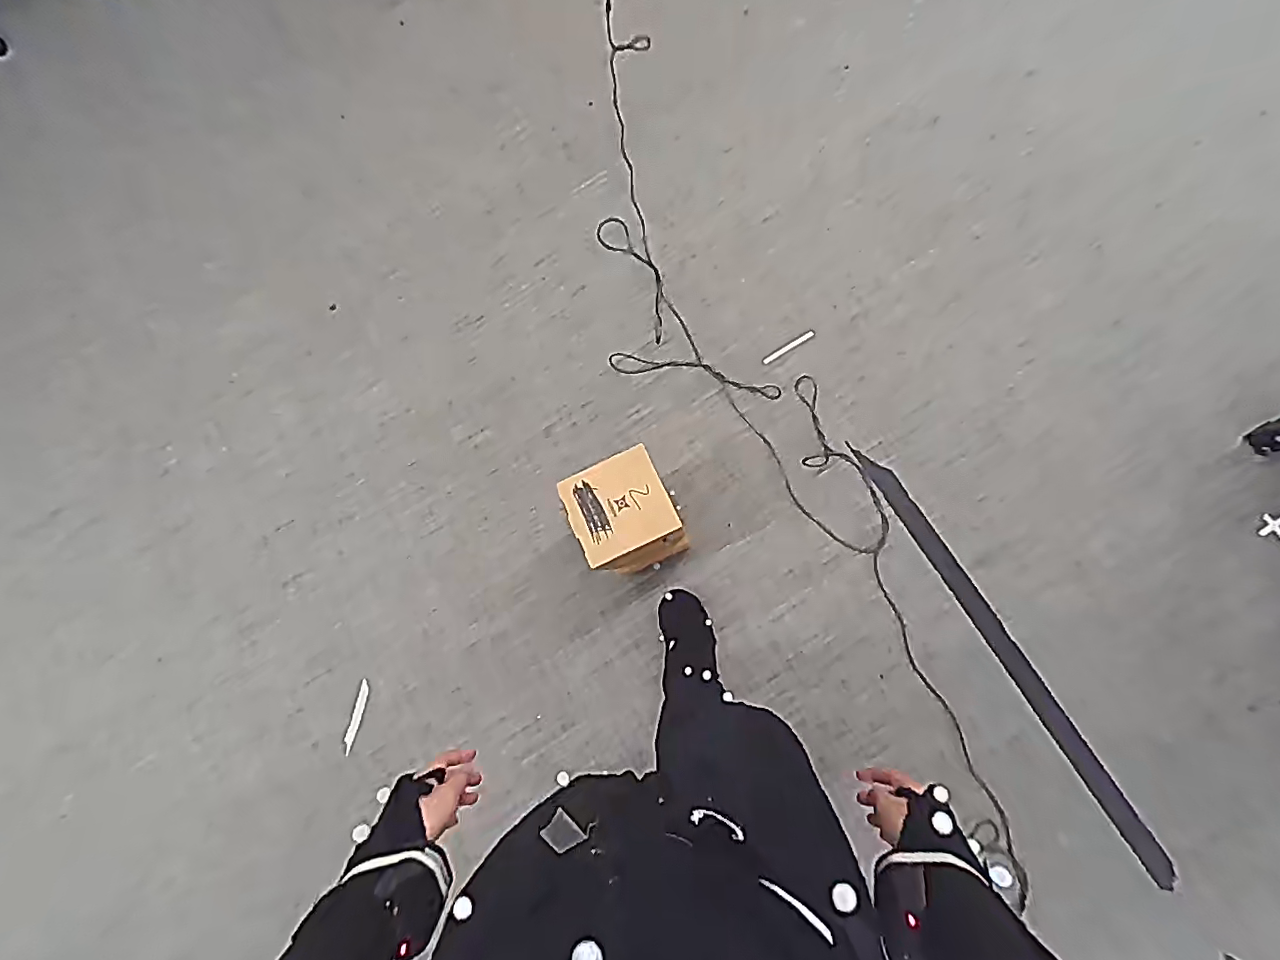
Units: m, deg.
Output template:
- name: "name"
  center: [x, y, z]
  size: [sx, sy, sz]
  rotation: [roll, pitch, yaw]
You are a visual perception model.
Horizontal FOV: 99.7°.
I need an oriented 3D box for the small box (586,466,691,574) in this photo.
- name: "small box"
  center: [0.002, 0.094, 1.169]
  size: [0.168, 0.176, 0.179]
  rotation: [-25, 79, 2]
